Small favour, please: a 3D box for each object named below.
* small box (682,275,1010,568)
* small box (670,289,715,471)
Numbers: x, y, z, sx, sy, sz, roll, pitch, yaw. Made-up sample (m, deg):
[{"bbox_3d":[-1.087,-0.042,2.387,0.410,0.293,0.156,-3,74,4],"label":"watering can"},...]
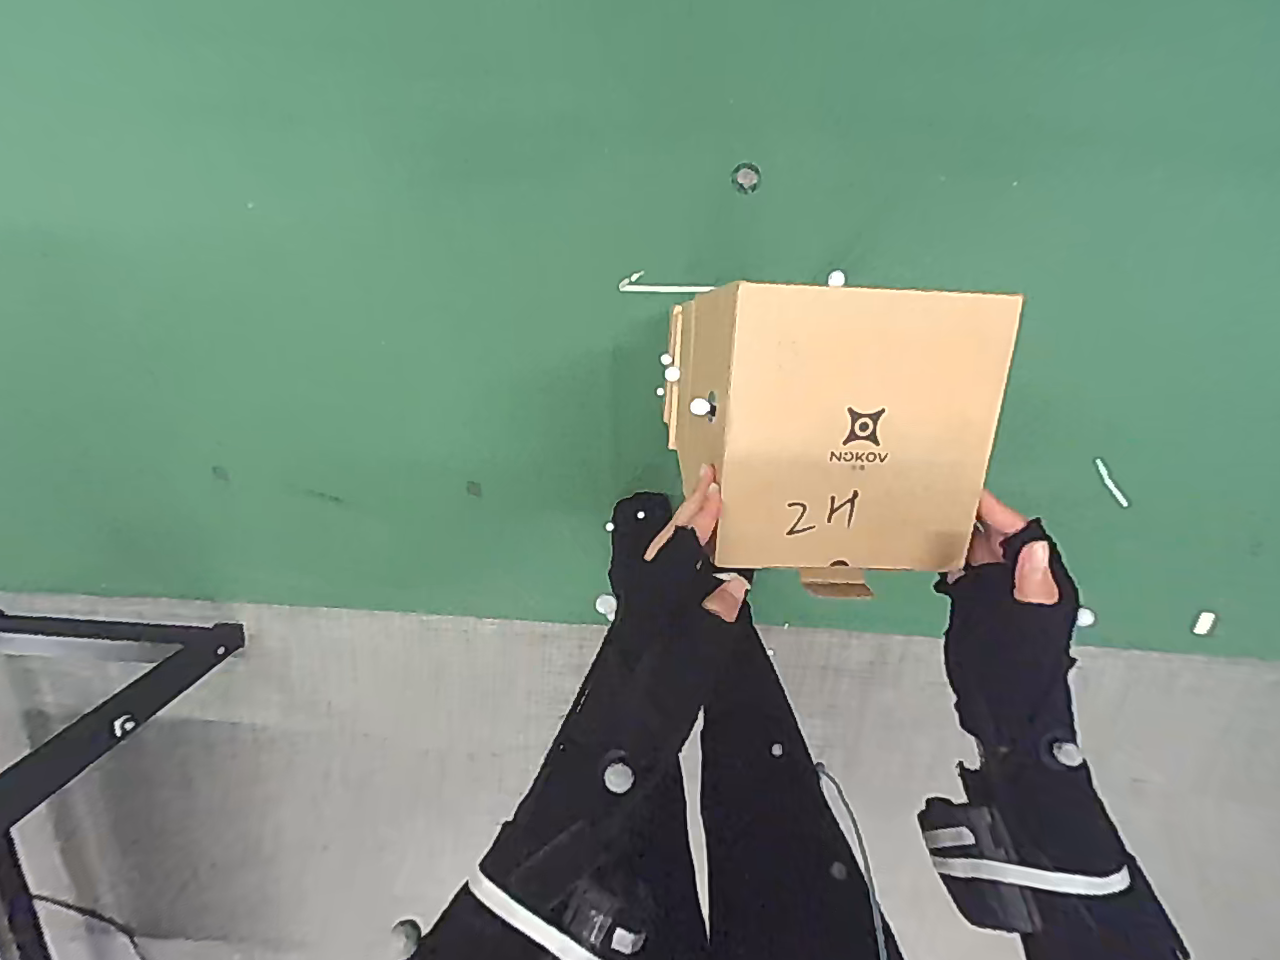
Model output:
[{"bbox_3d":[0.123,-0.050,0.402,0.168,0.176,0.179,2,107,-1],"label":"small box"},{"bbox_3d":[0.128,-0.101,0.561,0.179,0.176,0.168,4,105,0],"label":"small box"}]
